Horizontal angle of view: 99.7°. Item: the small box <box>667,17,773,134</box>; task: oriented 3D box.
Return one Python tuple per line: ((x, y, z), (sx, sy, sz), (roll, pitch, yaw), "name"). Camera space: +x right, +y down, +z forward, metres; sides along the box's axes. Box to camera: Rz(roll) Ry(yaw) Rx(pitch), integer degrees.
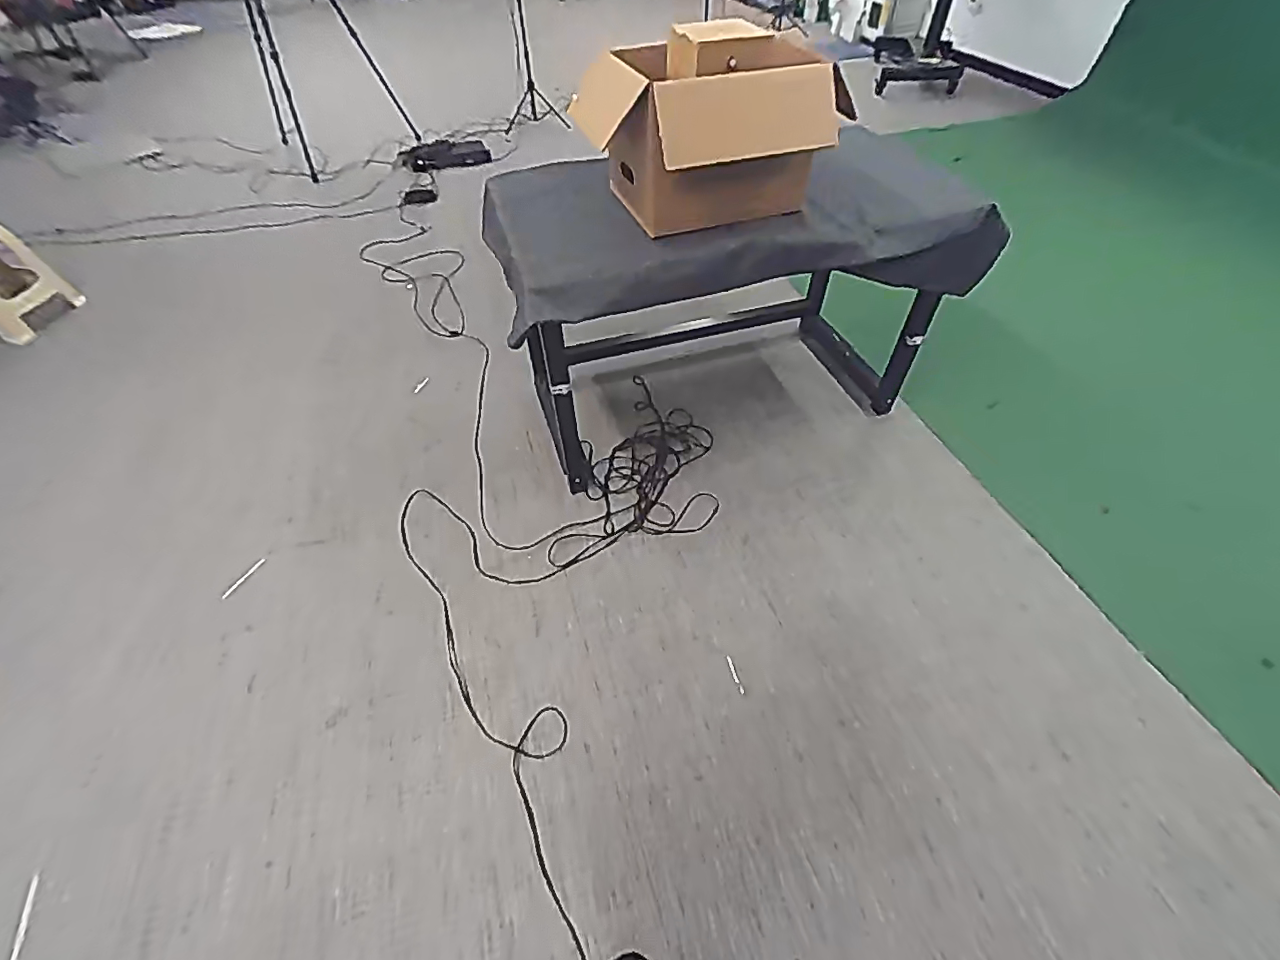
((0.168, -0.897, 1.200), (0.179, 0.176, 0.168), (-16, 52, -12), "small box")
